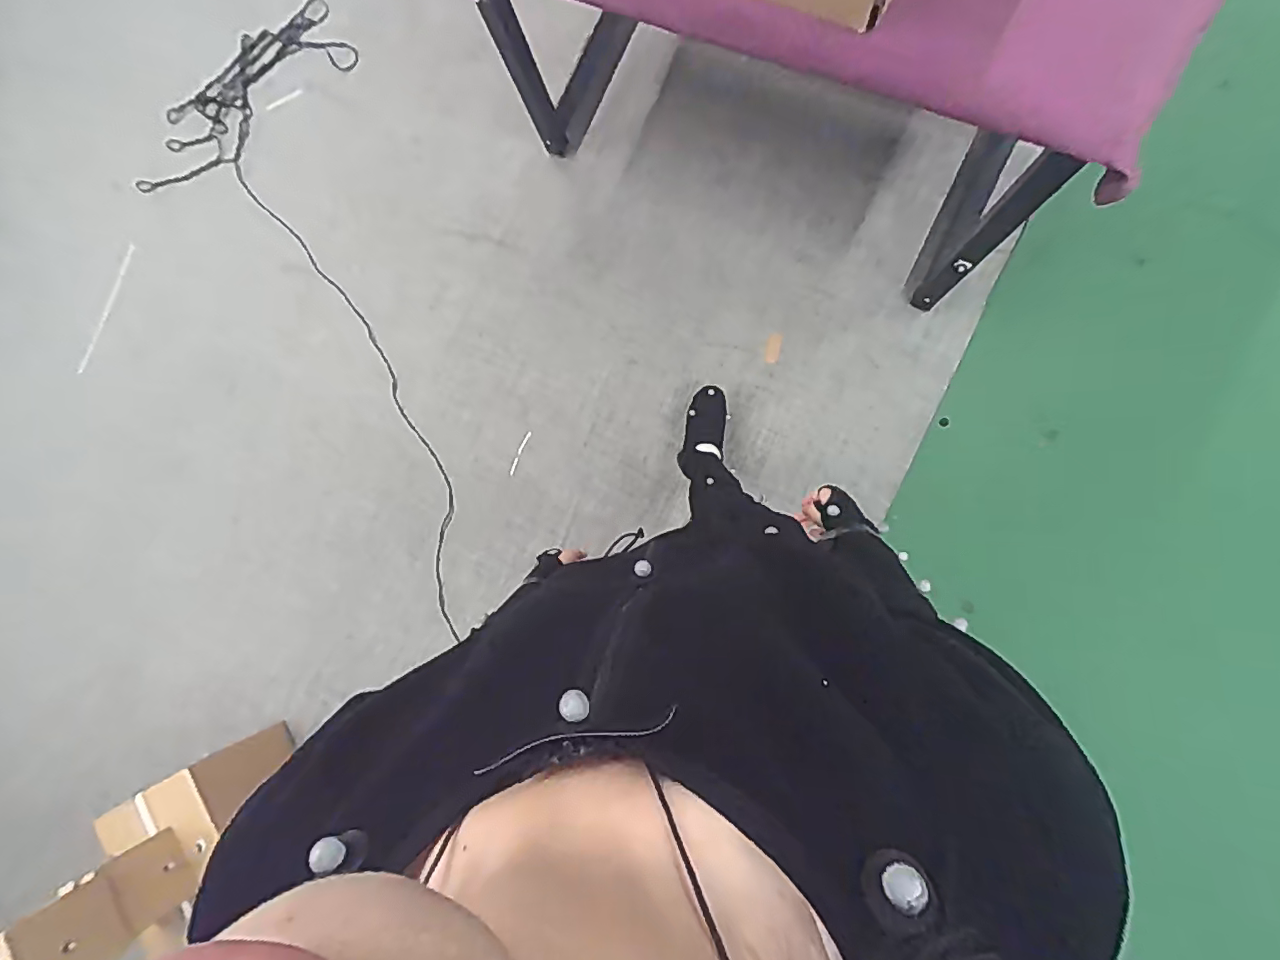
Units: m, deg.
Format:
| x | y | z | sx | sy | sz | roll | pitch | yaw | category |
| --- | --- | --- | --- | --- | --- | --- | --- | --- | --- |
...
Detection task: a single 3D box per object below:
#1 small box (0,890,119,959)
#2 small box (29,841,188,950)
| x | y | z | sx | sy | sz | roll | pitch | yaw | category |
| --- | --- | --- | --- | --- | --- | --- | --- | --- | --- |
| -1.203 | 0.960 | 1.065 | 0.168 | 0.176 | 0.179 | -31 | 85 | 6 | small box |
| -1.200 | 0.969 | 1.231 | 0.168 | 0.176 | 0.179 | -35 | 83 | 6 | small box |
